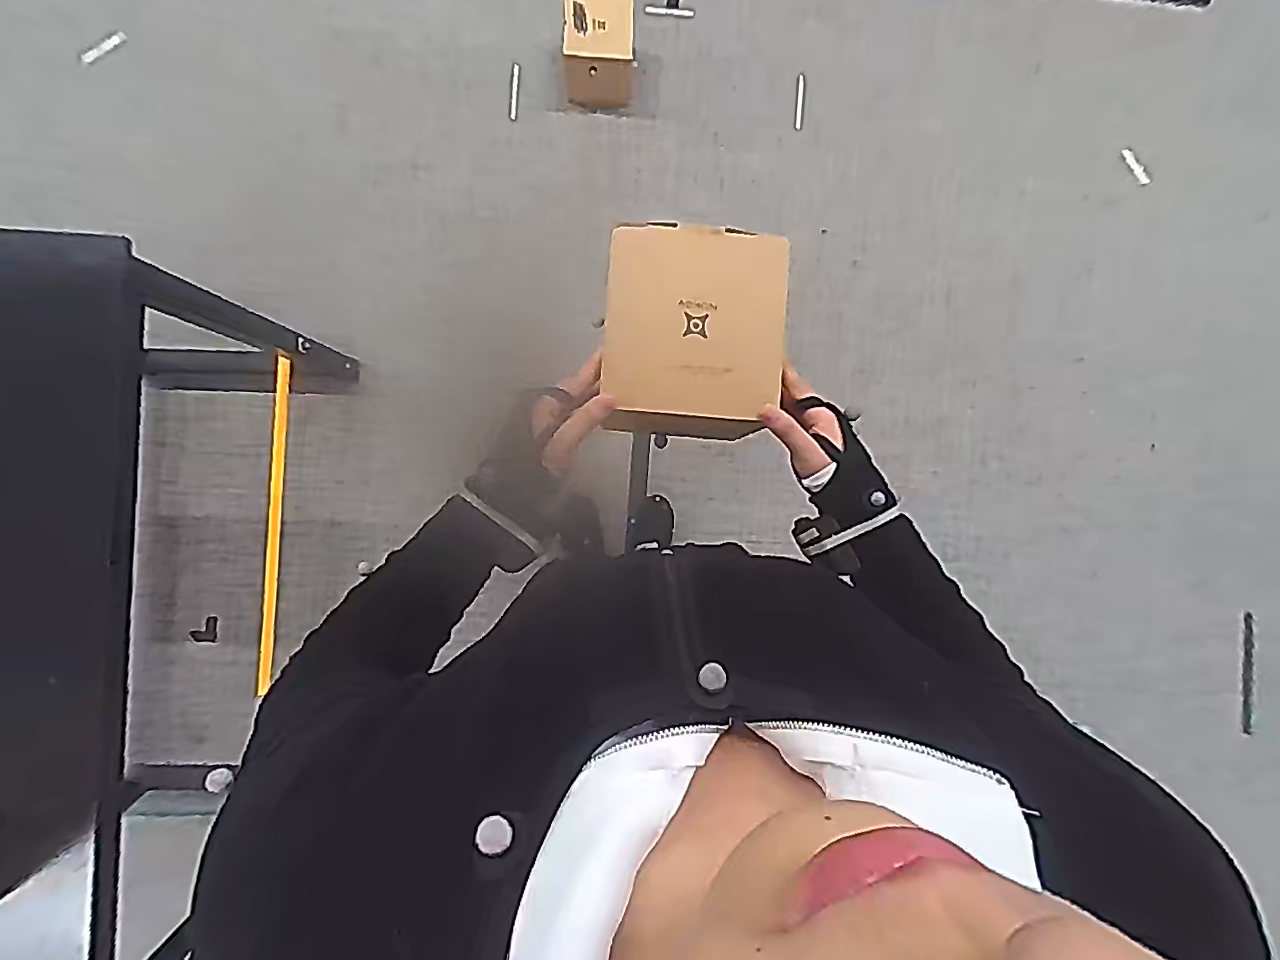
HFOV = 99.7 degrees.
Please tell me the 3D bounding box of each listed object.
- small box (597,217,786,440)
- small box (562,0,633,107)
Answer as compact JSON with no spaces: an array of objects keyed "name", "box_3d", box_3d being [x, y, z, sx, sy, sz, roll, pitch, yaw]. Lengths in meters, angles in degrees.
[{"name":"small box","box_3d":[0.043,-0.144,0.570,0.168,0.176,0.179,4,88,-3]},{"name":"small box","box_3d":[-0.108,-1.124,1.427,0.179,0.176,0.168,1,90,-3]}]
